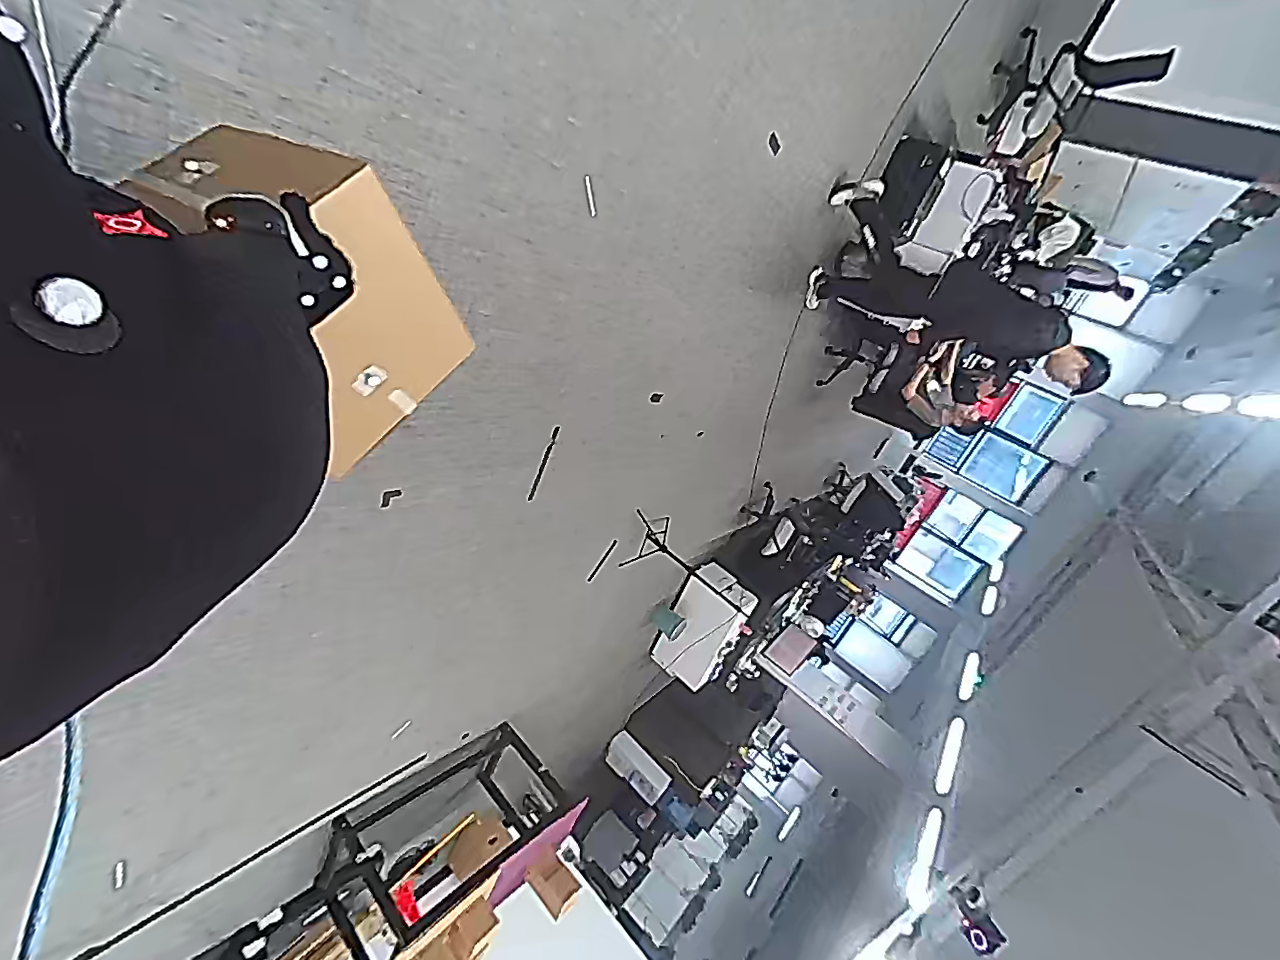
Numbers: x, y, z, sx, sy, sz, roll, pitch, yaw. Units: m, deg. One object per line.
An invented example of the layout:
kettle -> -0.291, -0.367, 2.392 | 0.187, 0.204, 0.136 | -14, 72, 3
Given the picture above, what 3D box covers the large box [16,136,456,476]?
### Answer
large box -> -0.575, -0.266, 0.825 | 0.320, 0.408, 0.320 | -52, 152, -22
